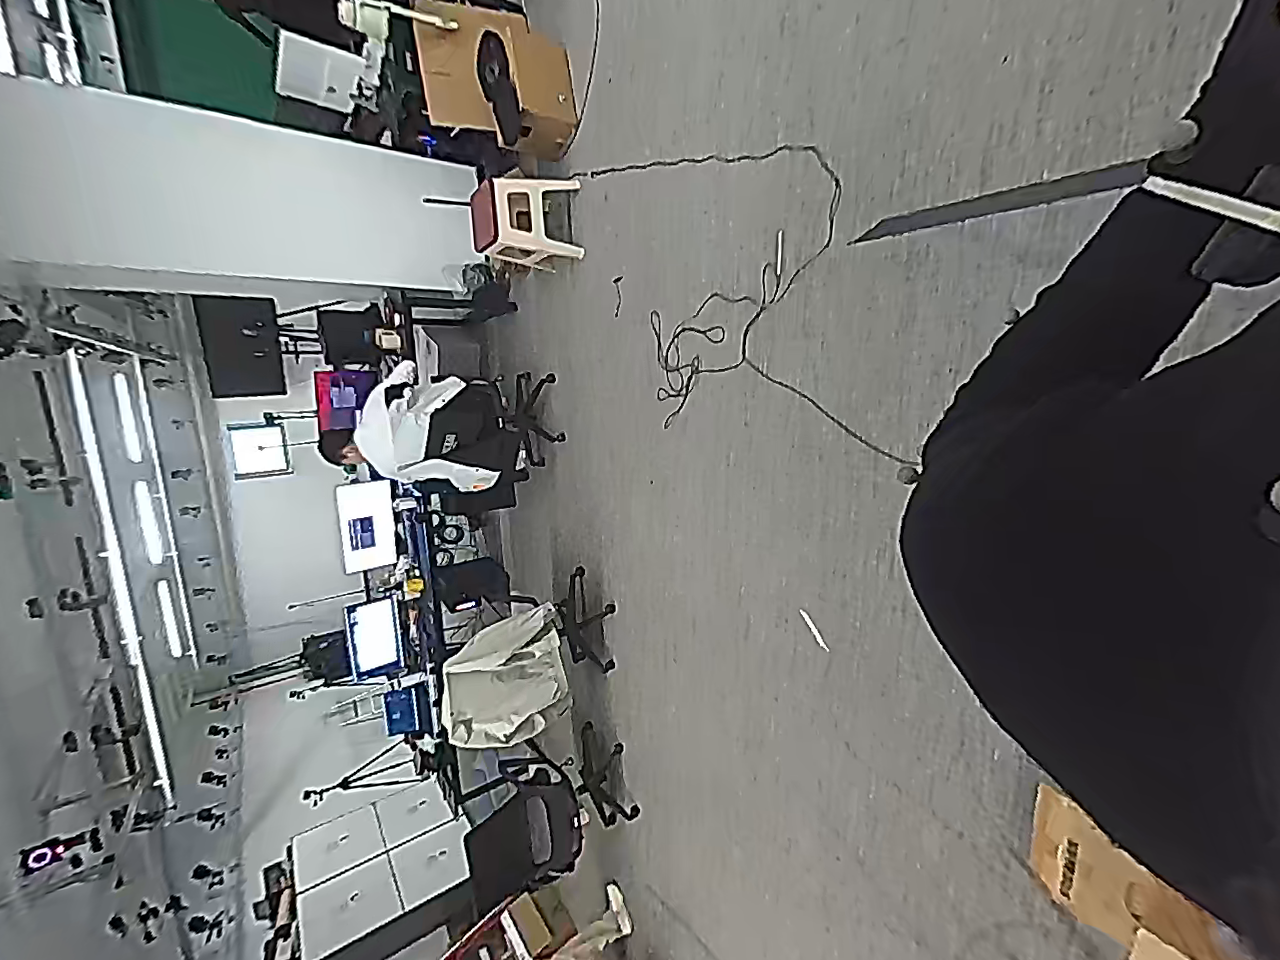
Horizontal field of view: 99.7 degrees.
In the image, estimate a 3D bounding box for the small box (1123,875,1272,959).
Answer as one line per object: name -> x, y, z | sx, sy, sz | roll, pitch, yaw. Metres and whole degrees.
small box -> 1.086, 0.942, 1.059 | 0.168, 0.176, 0.179 | 20, 114, 52
